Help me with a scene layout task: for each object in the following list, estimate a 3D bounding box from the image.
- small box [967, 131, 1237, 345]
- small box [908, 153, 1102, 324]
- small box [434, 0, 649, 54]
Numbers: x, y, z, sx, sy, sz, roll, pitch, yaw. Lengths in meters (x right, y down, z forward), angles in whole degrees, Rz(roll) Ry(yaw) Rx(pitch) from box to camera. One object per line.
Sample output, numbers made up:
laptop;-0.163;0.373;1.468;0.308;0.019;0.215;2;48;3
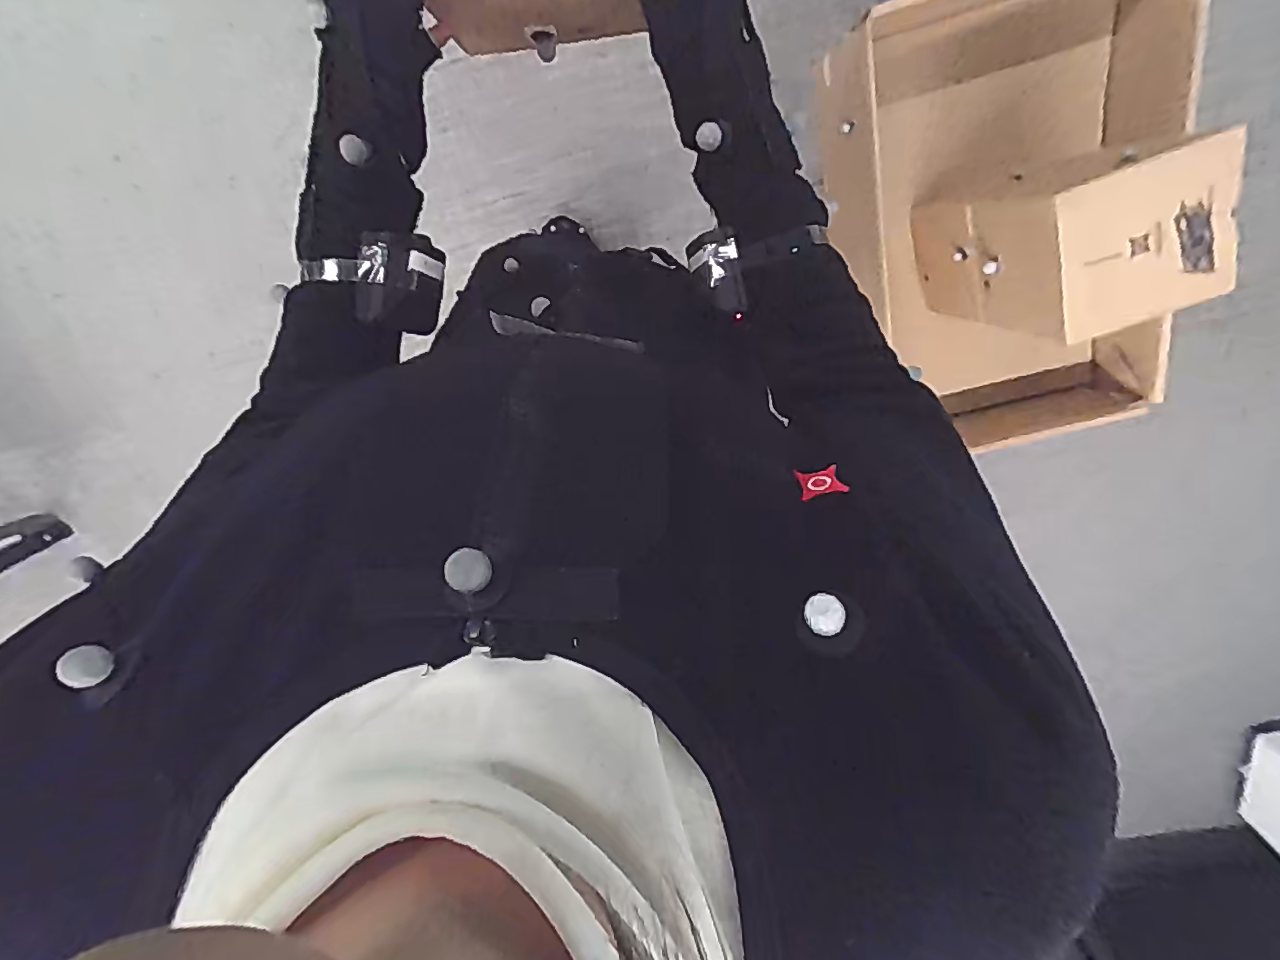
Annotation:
small box;0.529;-0.281;0.643;0.179;0.176;0.168;-18;112;10
small box;0.528;-0.348;0.793;0.179;0.176;0.168;-20;111;9
small box;-0.084;-0.428;0.361;0.168;0.176;0.179;-8;114;4
